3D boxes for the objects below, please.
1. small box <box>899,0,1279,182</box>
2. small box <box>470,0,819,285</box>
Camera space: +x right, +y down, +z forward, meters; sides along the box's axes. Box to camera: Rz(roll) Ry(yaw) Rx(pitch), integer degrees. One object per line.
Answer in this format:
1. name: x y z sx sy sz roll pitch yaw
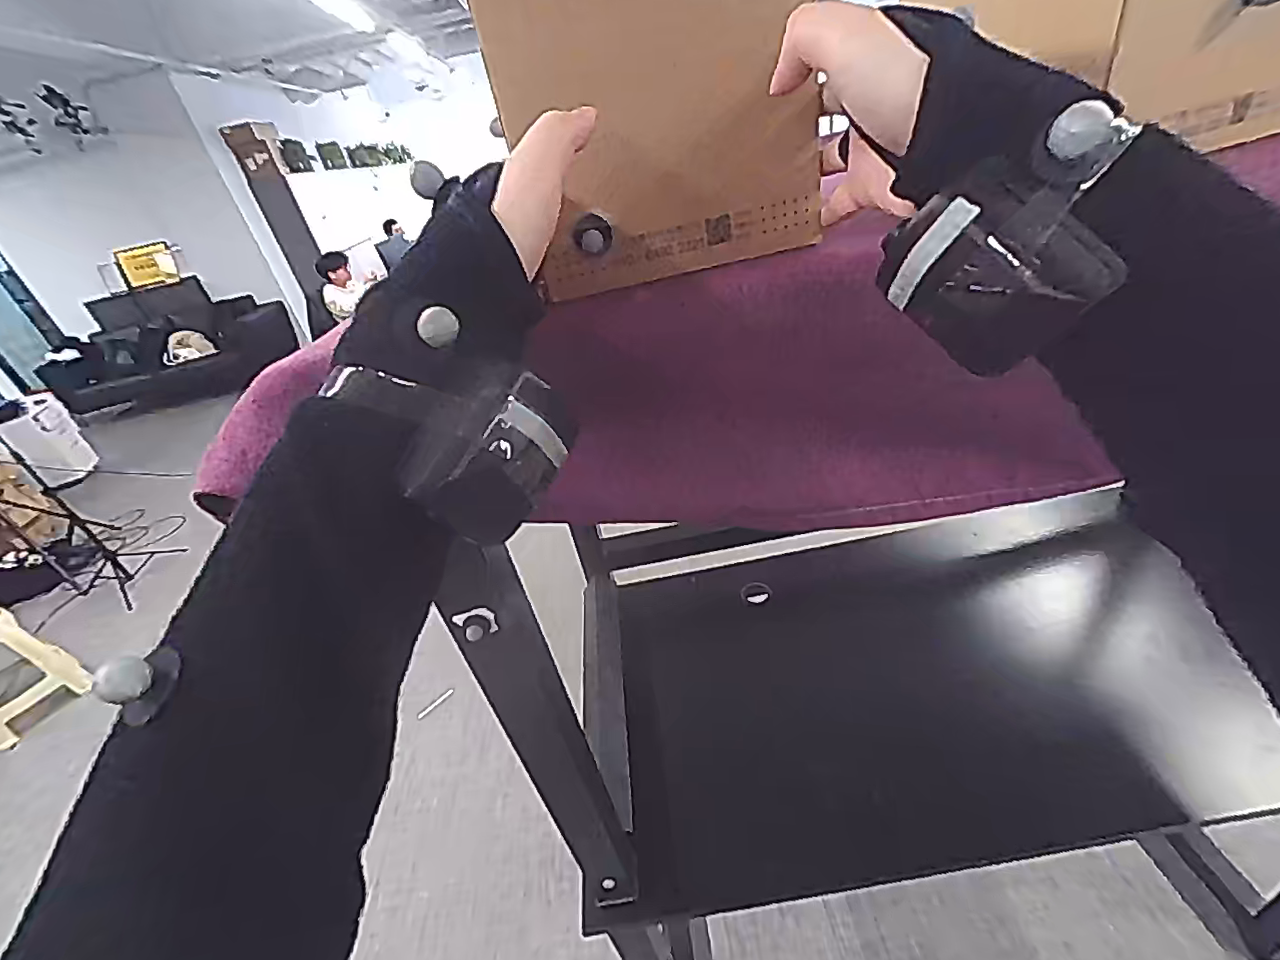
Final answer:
1. small box: 0.295 -0.302 0.349 0.168 0.176 0.179 -18 32 -7
2. small box: 0.003 -0.233 0.342 0.168 0.176 0.179 -13 30 -1
